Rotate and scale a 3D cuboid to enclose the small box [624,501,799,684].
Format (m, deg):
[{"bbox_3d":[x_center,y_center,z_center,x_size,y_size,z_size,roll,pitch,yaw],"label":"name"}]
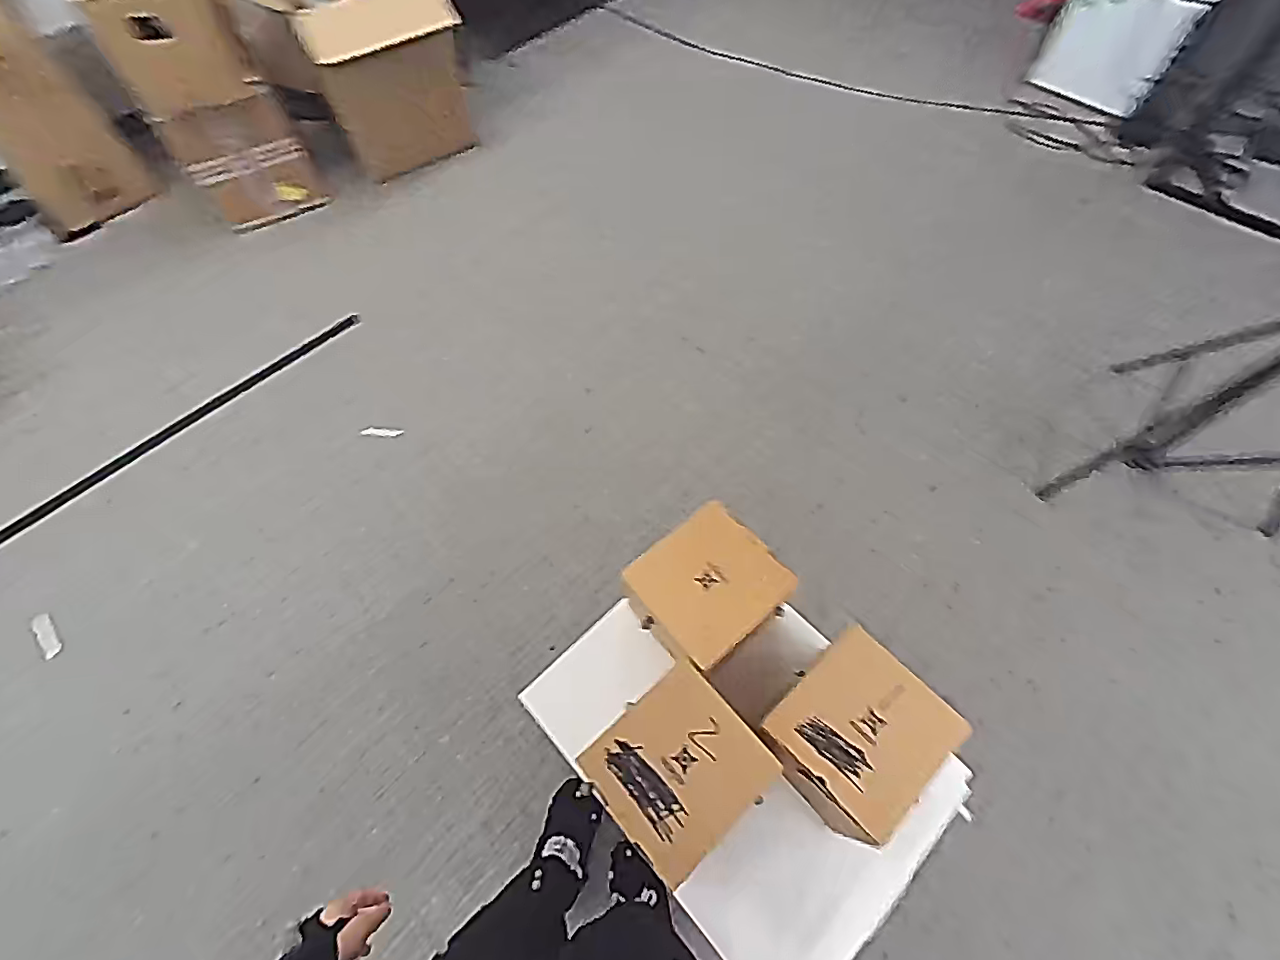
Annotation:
[{"bbox_3d":[0.098,0.169,0.784,0.179,0.176,0.168,-37,66,-16],"label":"small box"}]
